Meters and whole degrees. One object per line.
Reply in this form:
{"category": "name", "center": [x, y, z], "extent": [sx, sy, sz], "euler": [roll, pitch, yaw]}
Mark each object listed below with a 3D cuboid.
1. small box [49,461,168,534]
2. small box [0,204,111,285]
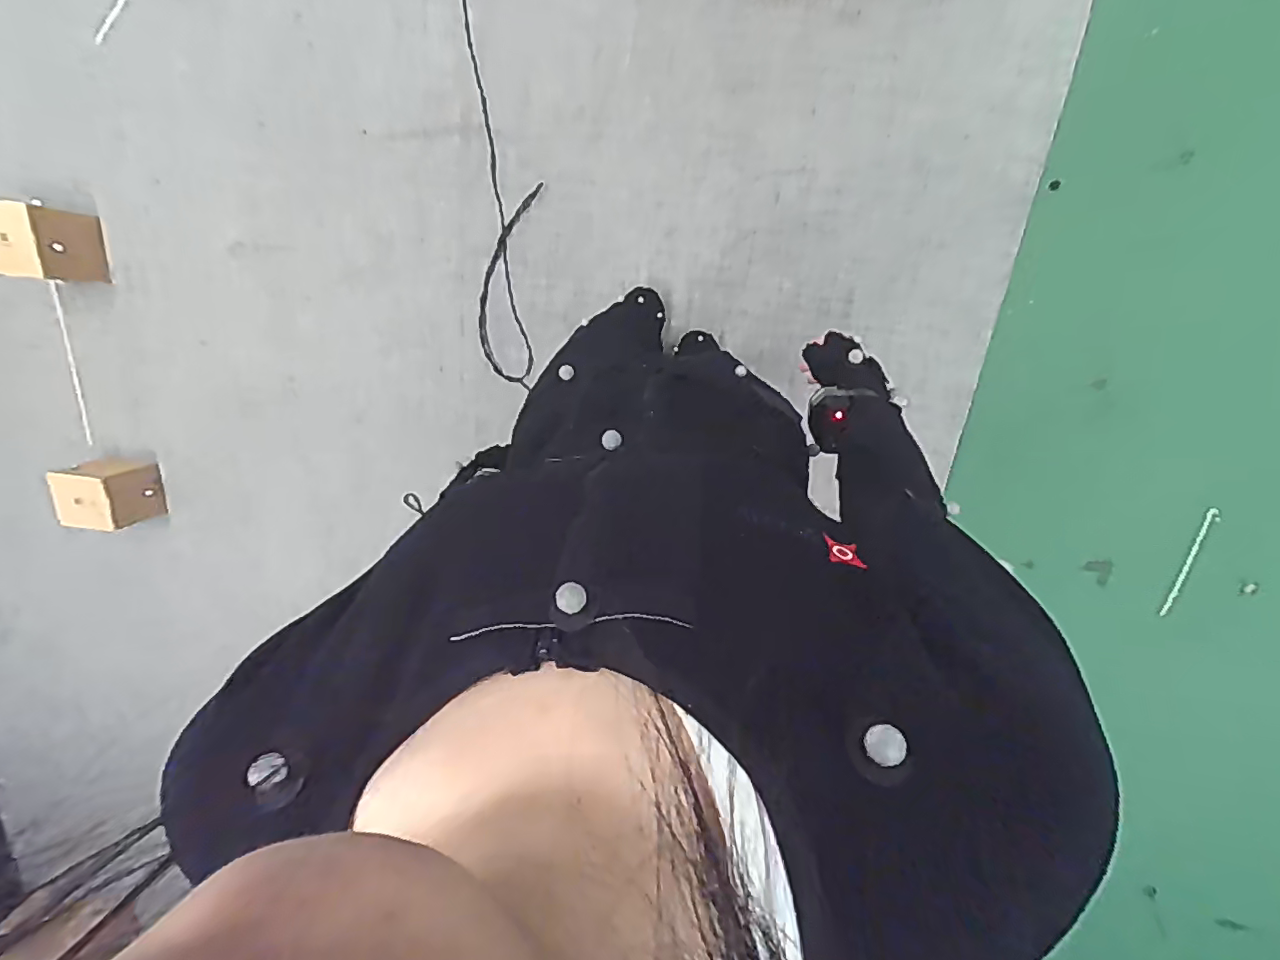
{"category": "small box", "center": [-1.572, 0.046, 1.610], "extent": [0.179, 0.176, 0.168], "euler": [6, 109, 4]}
{"category": "small box", "center": [-1.535, -0.603, 1.393], "extent": [0.168, 0.176, 0.179], "euler": [6, 109, 4]}
